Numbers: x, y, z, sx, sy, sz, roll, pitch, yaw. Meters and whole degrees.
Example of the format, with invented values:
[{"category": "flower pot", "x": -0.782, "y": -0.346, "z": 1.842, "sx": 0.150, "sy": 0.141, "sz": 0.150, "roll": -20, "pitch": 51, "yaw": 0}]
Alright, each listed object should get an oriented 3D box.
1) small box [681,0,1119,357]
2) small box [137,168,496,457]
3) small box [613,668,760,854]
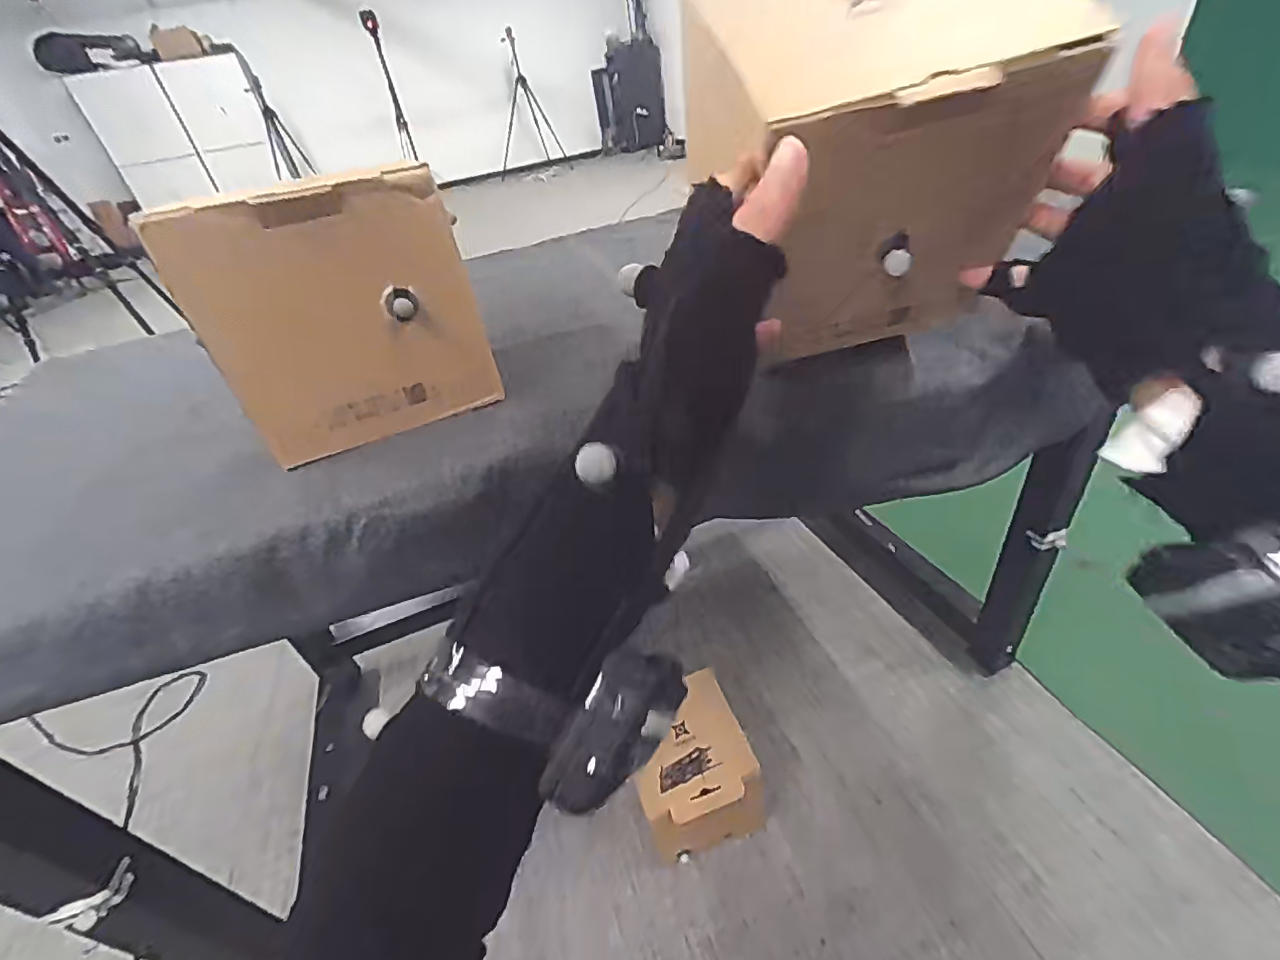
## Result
[{"category": "small box", "x": 0.128, "y": -0.200, "z": 0.348, "sx": 0.168, "sy": 0.176, "sz": 0.179, "roll": -13, "pitch": 63, "yaw": 1}, {"category": "small box", "x": -0.227, "y": -0.135, "z": 0.429, "sx": 0.168, "sy": 0.176, "sz": 0.179, "roll": -20, "pitch": 35, "yaw": -16}, {"category": "small box", "x": 0.072, "y": 0.431, "z": 0.823, "sx": 0.168, "sy": 0.176, "sz": 0.179, "roll": -18, "pitch": 35, "yaw": -9}]
